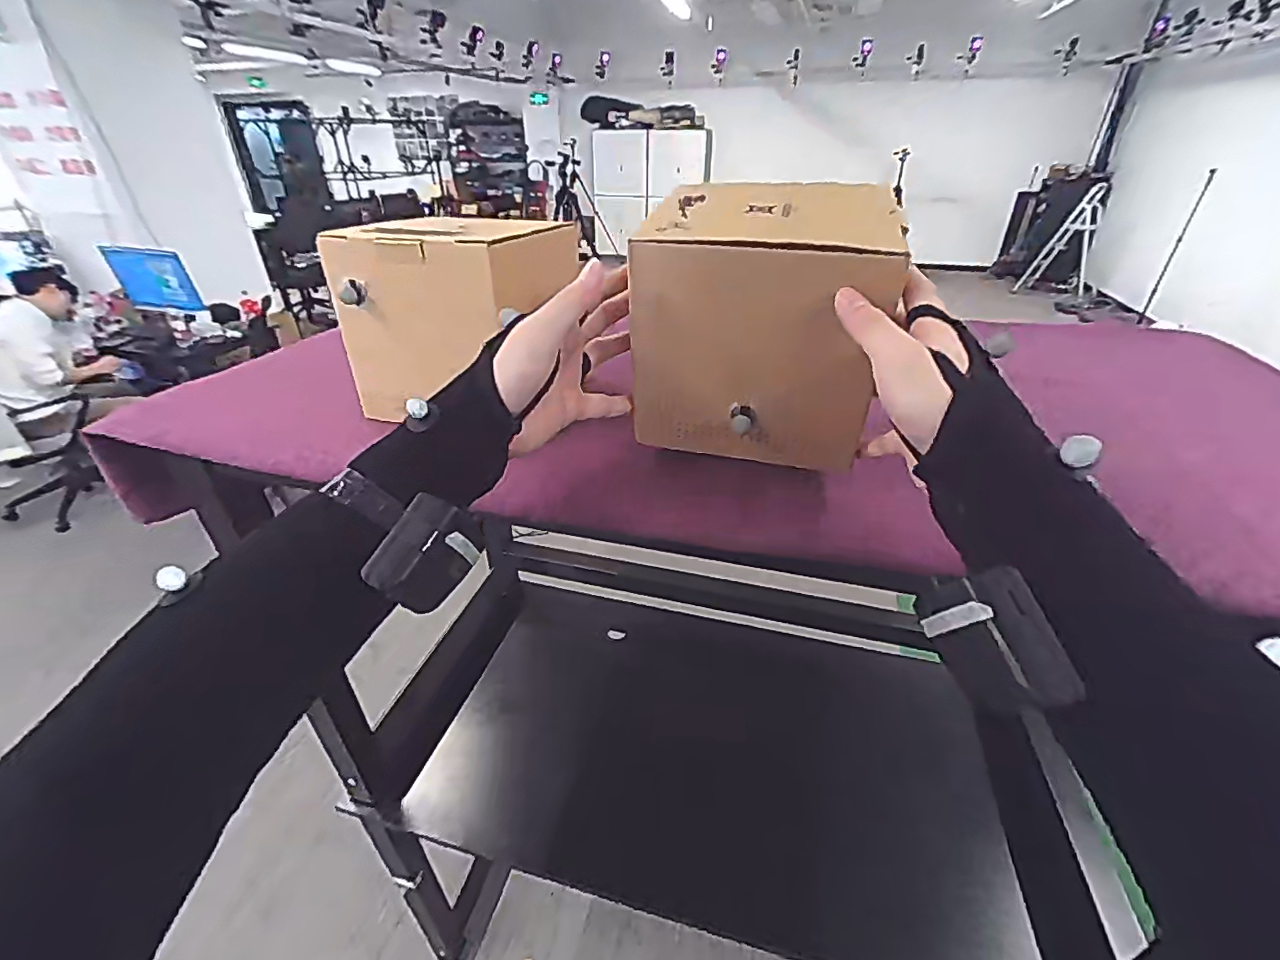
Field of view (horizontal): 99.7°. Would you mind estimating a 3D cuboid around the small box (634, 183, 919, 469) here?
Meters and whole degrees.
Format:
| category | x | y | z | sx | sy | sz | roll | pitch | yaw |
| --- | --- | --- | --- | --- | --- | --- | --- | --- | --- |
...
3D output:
| category | x | y | z | sx | sy | sz | roll | pitch | yaw |
| --- | --- | --- | --- | --- | --- | --- | --- | --- | --- |
| small box | 0.103 | -0.128 | 0.440 | 0.179 | 0.176 | 0.168 | 9 | 40 | 13 |
